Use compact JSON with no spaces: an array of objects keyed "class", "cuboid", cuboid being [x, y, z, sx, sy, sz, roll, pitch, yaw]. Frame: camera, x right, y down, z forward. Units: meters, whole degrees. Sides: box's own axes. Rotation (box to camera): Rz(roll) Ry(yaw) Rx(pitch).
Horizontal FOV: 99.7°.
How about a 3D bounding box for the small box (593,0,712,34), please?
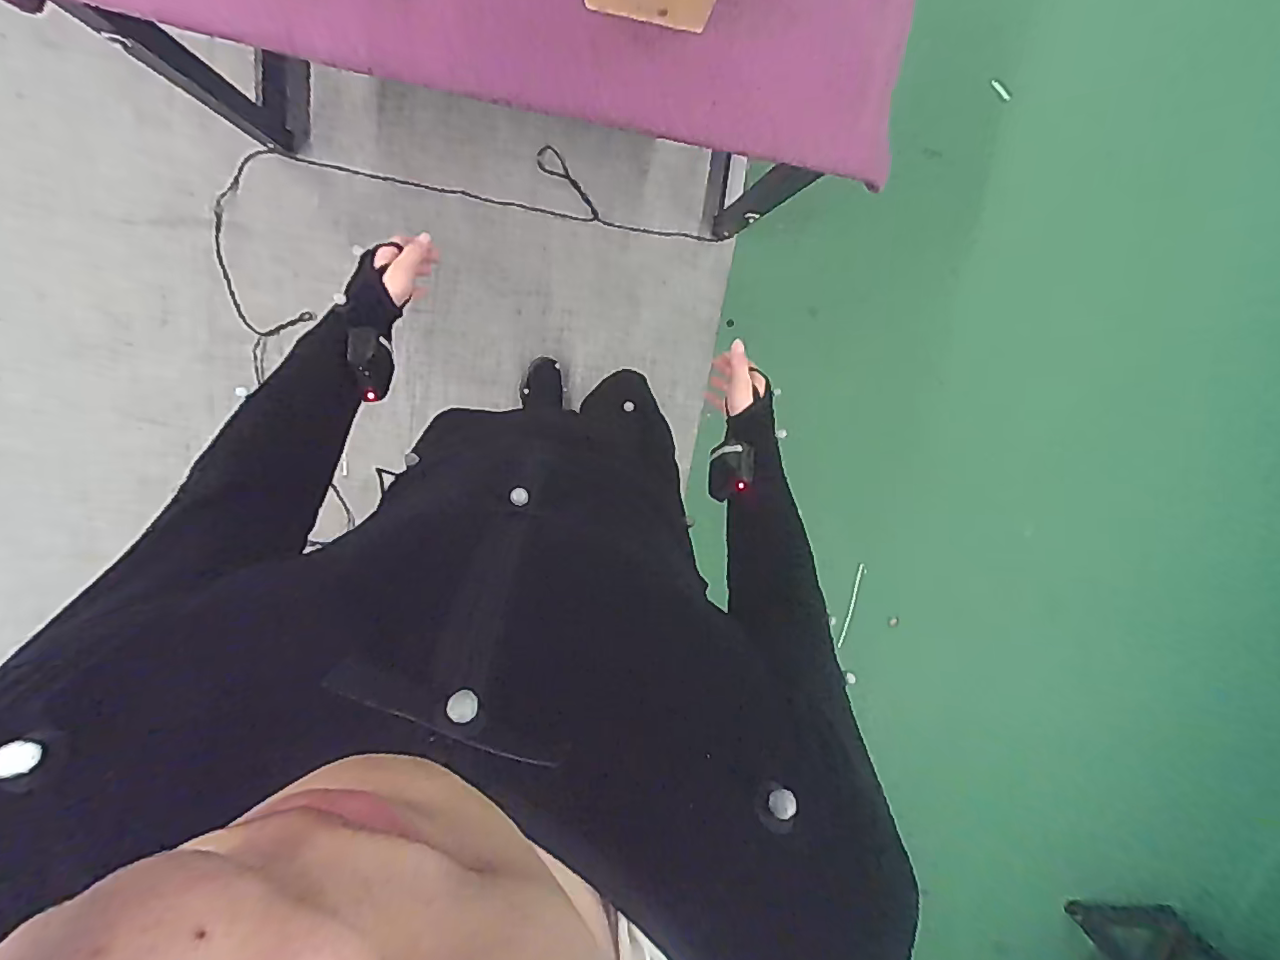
[{"class":"small box","cuboid":[0.025,-0.694,0.655,0.168,0.176,0.179,5,101,-9]}]
